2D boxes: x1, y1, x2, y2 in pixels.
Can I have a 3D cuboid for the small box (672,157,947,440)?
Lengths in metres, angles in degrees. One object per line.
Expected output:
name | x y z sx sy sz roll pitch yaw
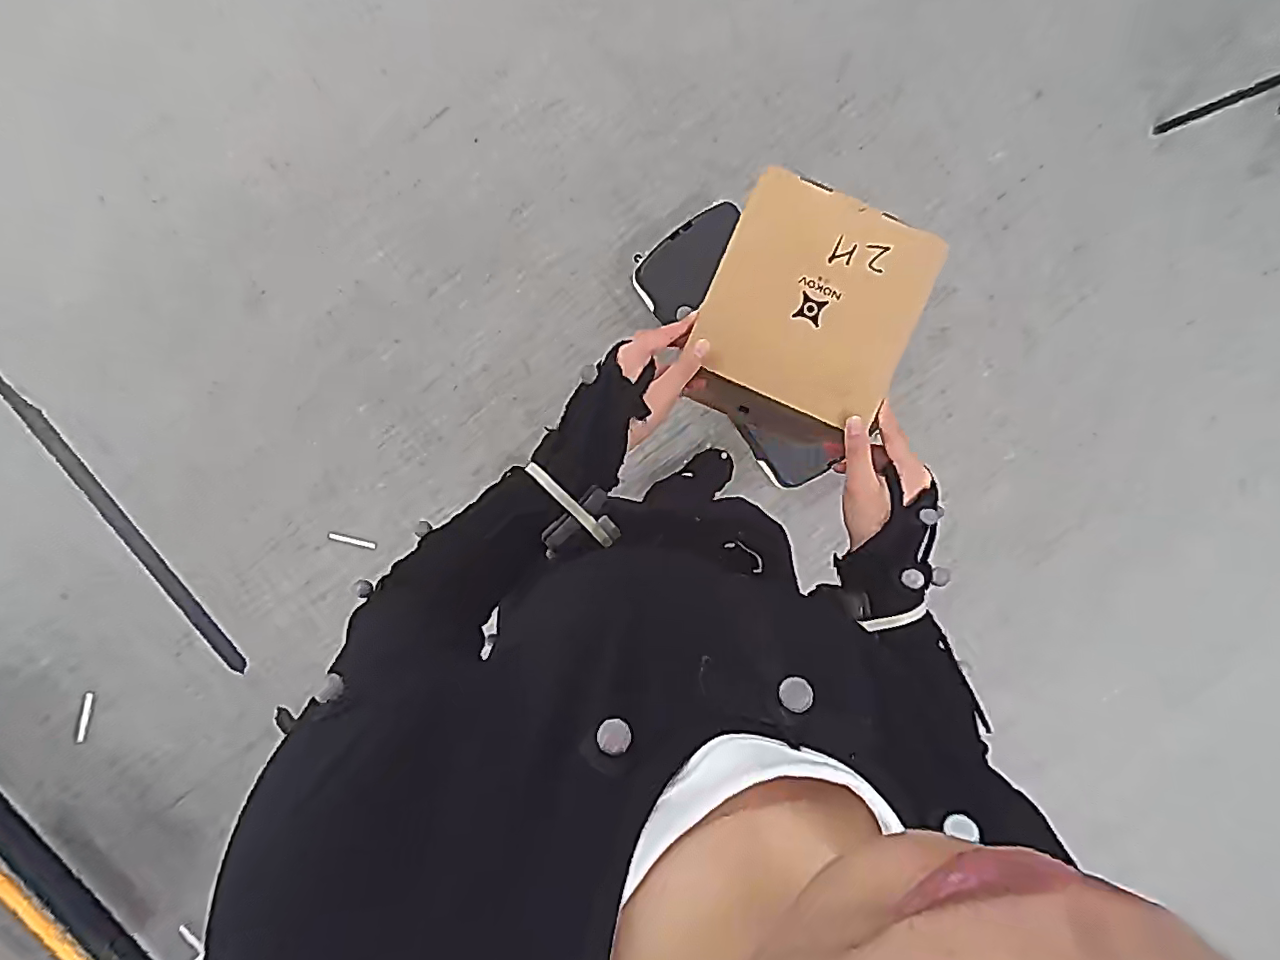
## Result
small box | 0.137 -0.146 0.509 0.168 0.176 0.179 24 90 -1
